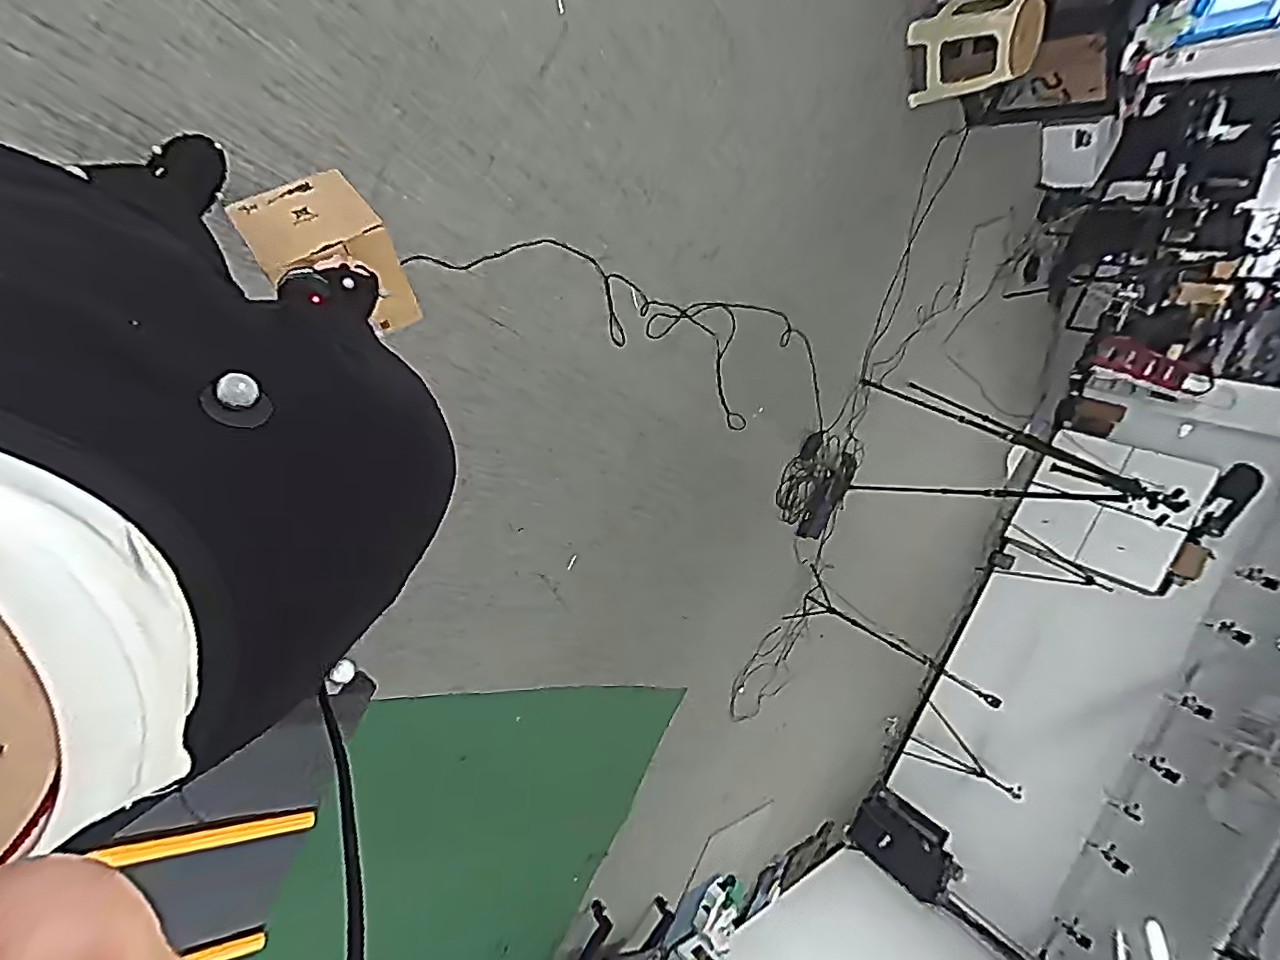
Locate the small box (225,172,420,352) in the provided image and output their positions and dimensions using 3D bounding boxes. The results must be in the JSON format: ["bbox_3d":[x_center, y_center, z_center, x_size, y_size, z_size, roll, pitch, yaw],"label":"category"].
[{"bbox_3d":[-0.469,-0.321,0.824,0.168,0.179,0.176,-36,155,-19],"label":"small box"}]
